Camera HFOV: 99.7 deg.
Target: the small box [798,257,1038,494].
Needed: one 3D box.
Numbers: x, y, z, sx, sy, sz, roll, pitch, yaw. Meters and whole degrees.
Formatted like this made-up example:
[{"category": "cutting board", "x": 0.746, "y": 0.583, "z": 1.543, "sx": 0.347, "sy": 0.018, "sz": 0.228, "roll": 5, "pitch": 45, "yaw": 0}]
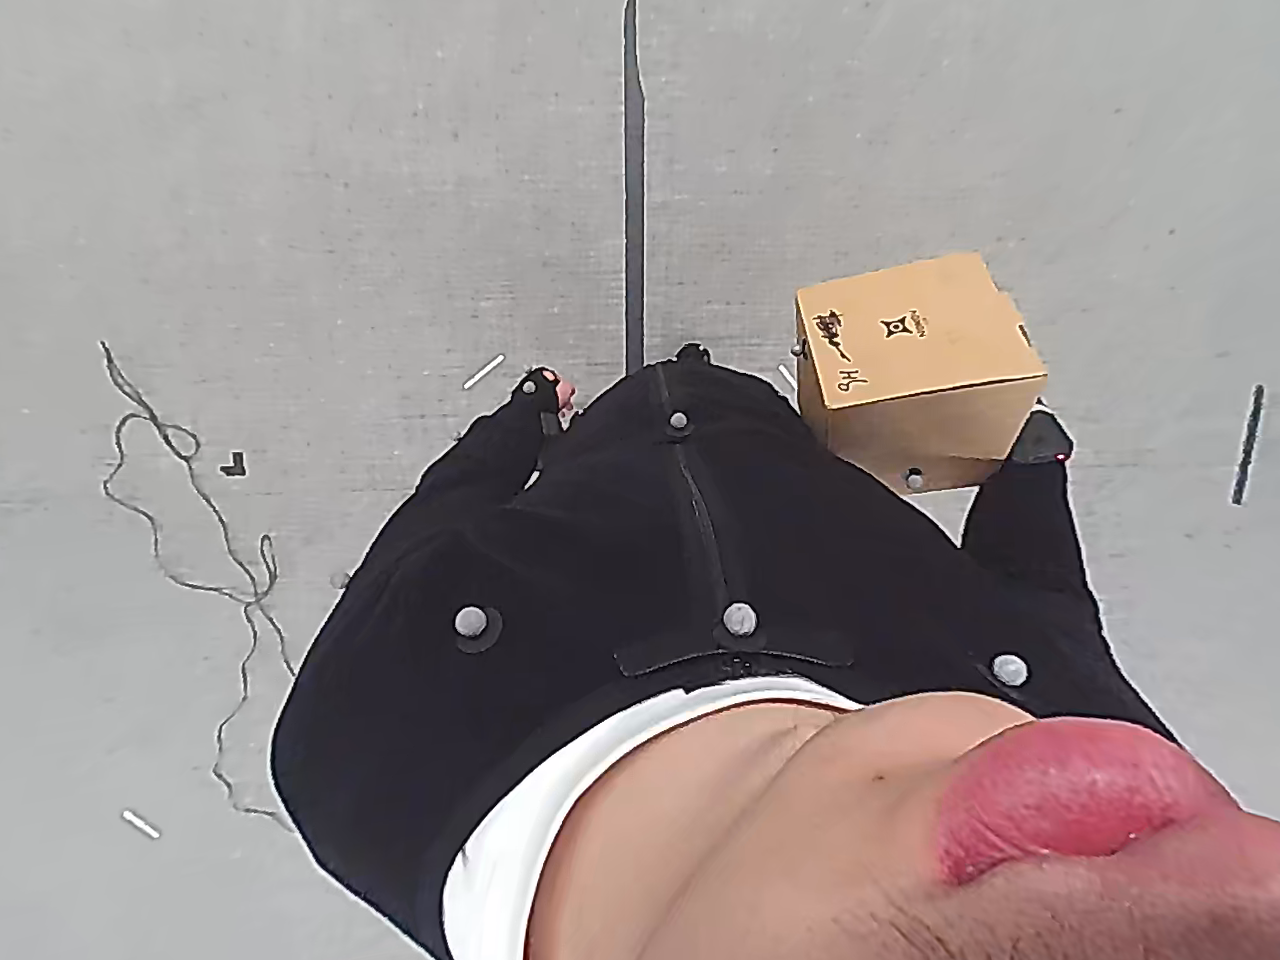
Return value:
[{"category": "small box", "x": 0.272, "y": -0.103, "z": 0.580, "sx": 0.179, "sy": 0.168, "sz": 0.176, "roll": -8, "pitch": 145, "yaw": 11}]
